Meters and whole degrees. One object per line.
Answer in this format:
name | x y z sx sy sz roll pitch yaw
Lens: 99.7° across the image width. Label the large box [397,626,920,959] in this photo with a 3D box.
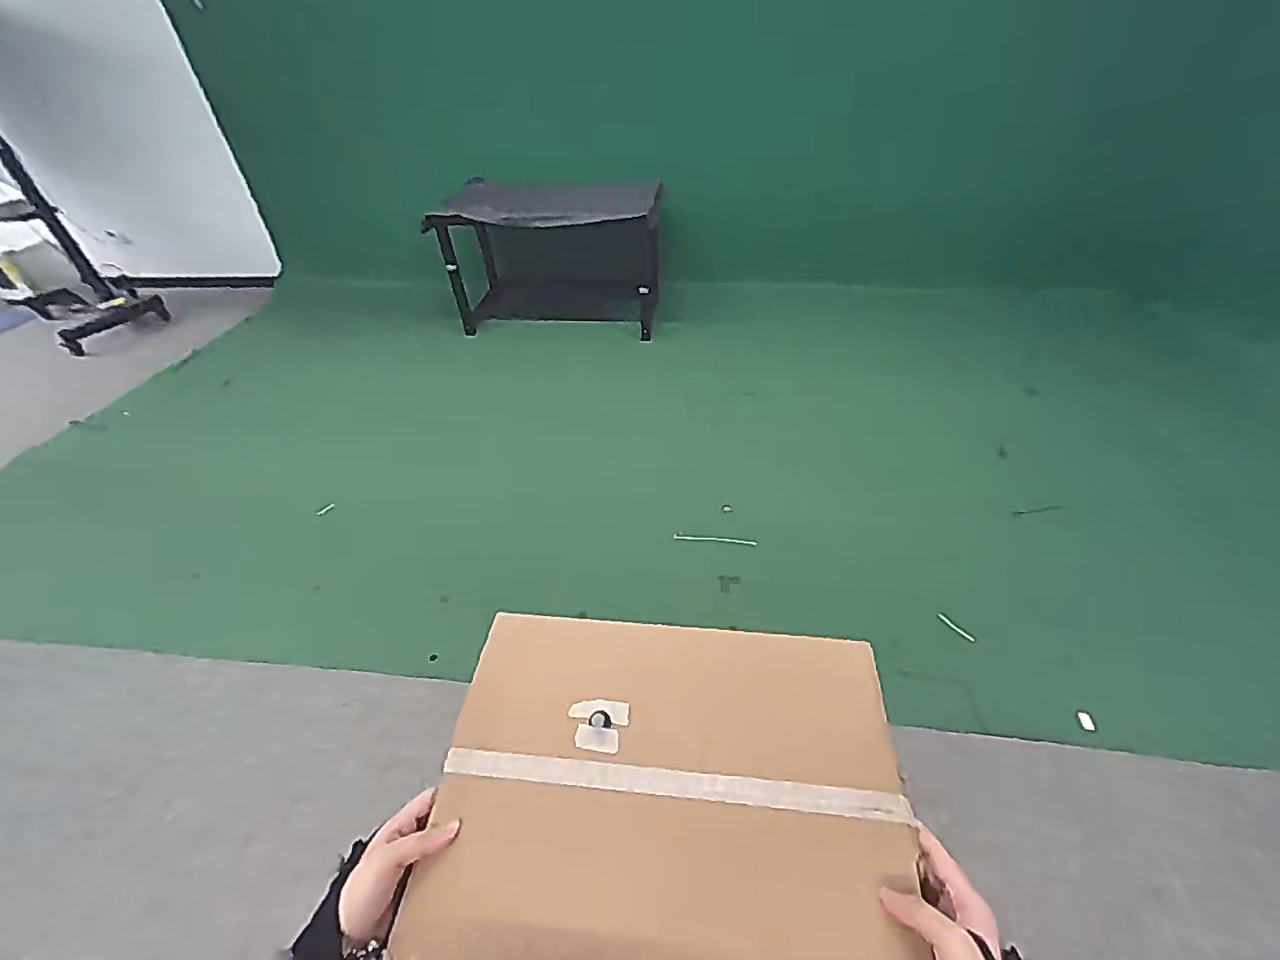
large box | 0.034 0.381 0.598 0.408 0.320 0.320 1 45 8
